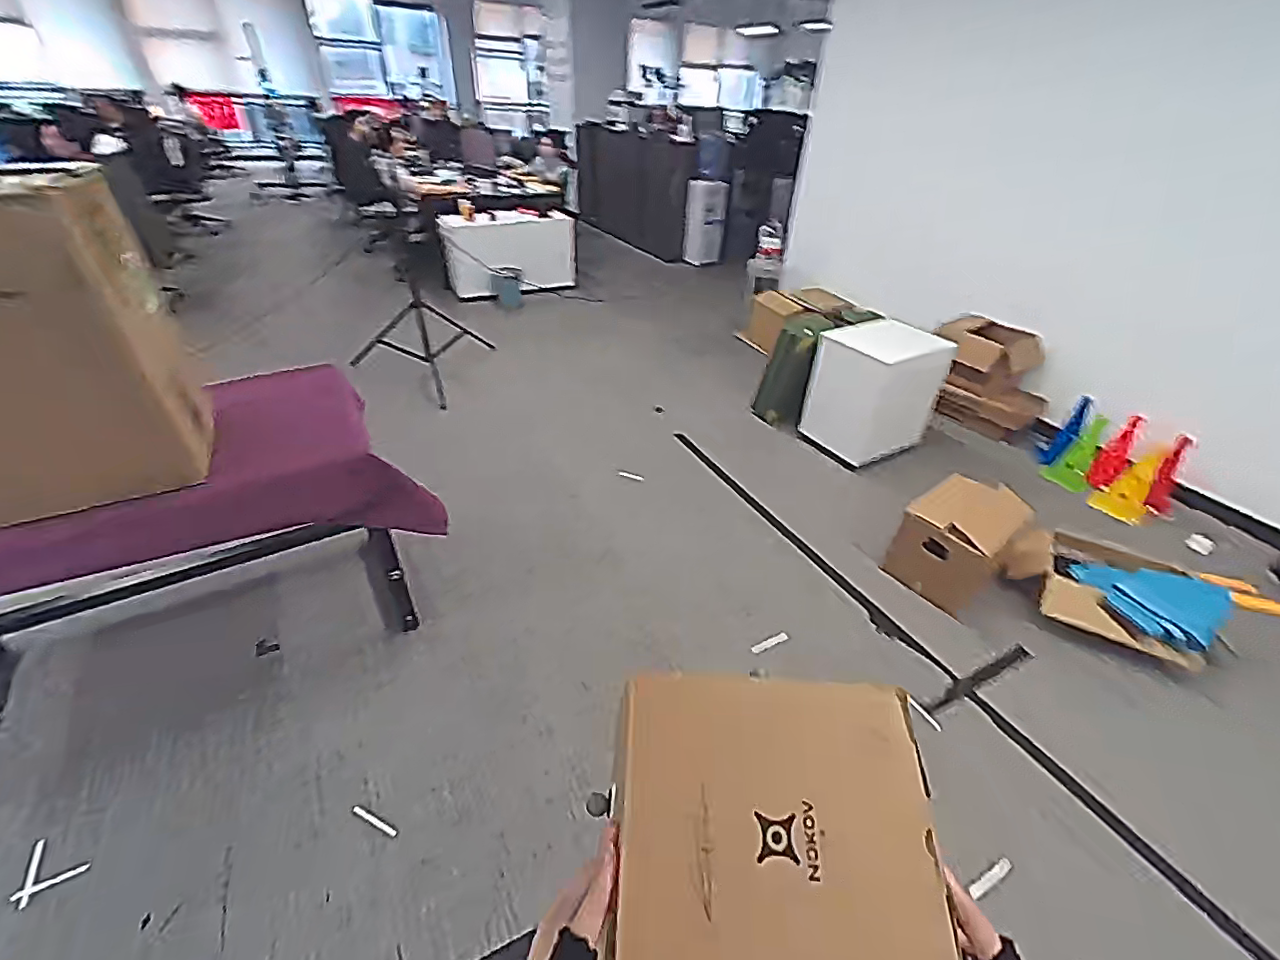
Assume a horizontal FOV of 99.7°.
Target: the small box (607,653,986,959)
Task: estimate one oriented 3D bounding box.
[{"bbox_3d":[0.073,0.219,0.349,0.179,0.176,0.168,3,57,-4],"label":"small box"}]
